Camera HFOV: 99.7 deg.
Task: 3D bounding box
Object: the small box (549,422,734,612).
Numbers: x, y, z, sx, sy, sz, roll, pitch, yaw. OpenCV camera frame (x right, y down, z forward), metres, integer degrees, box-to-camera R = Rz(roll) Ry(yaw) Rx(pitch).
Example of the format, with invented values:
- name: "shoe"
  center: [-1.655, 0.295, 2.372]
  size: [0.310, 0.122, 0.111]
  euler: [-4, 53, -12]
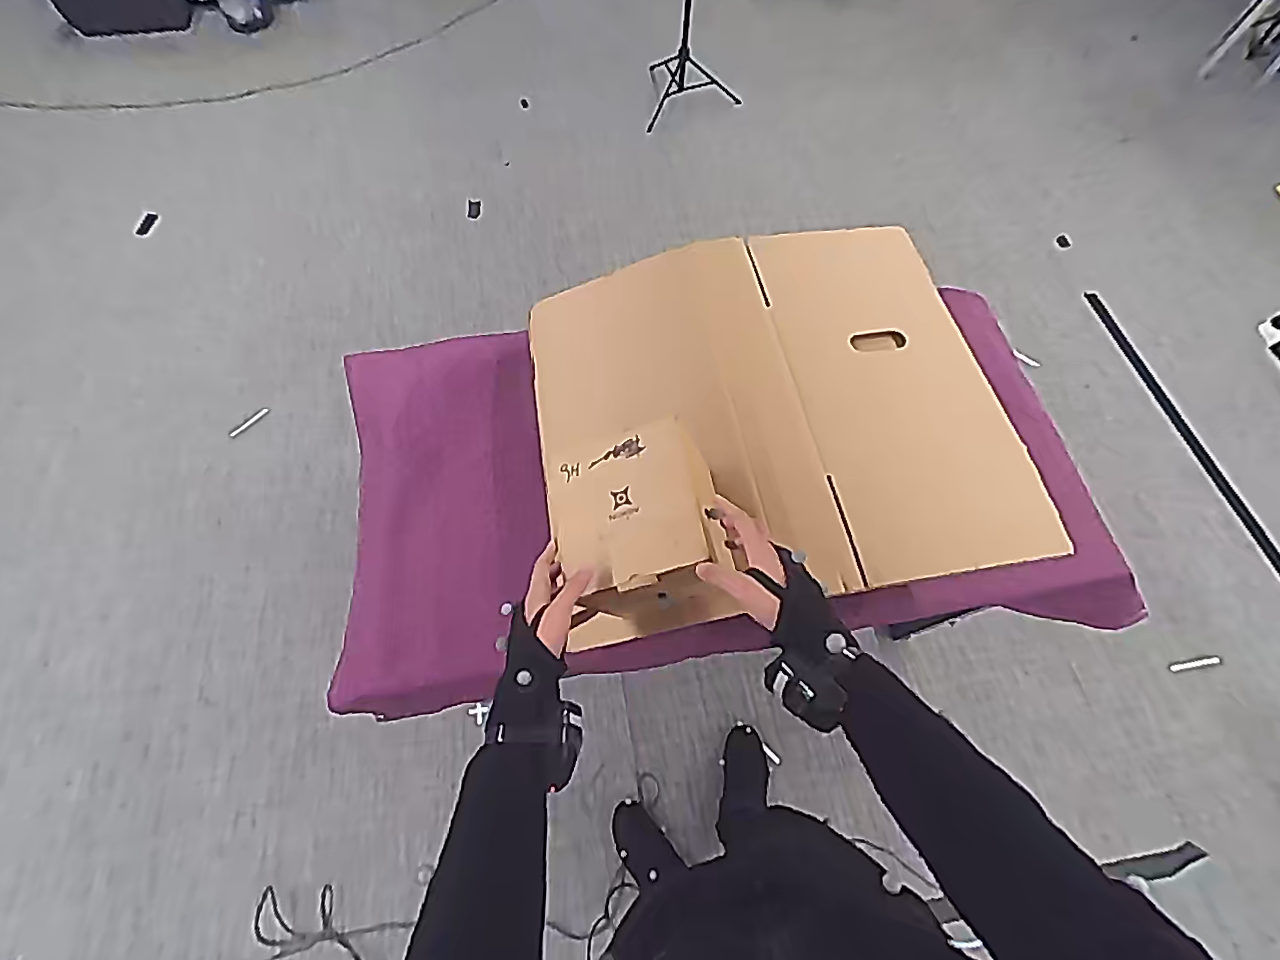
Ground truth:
- name: "small box"
  center: [0.007, 0.059, 0.669]
  size: [0.168, 0.176, 0.179]
  euler: [-18, 66, 14]
